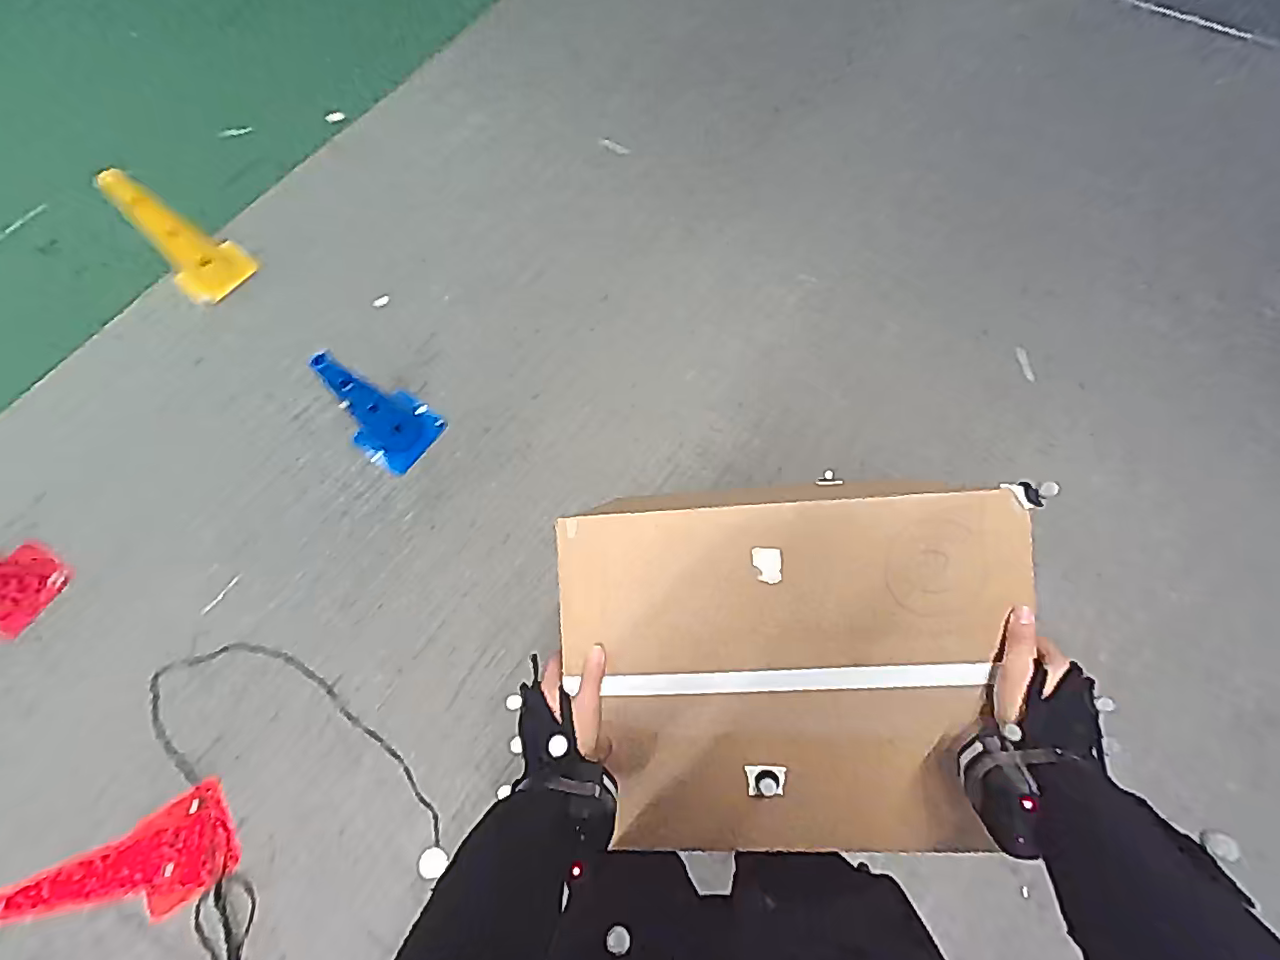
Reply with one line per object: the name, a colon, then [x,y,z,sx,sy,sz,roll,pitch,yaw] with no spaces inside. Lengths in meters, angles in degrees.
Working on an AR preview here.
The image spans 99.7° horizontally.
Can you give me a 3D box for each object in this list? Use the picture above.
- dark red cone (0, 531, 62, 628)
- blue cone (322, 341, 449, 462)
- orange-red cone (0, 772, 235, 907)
dark red cone: [-1.612,0.192,1.228,0.201,0.394,0.202,27,74,17]
blue cone: [-0.660,-0.210,1.334,0.193,0.380,0.192,35,76,16]
orange-red cone: [-0.992,0.703,0.998,0.199,0.360,0.198,-32,69,-6]
